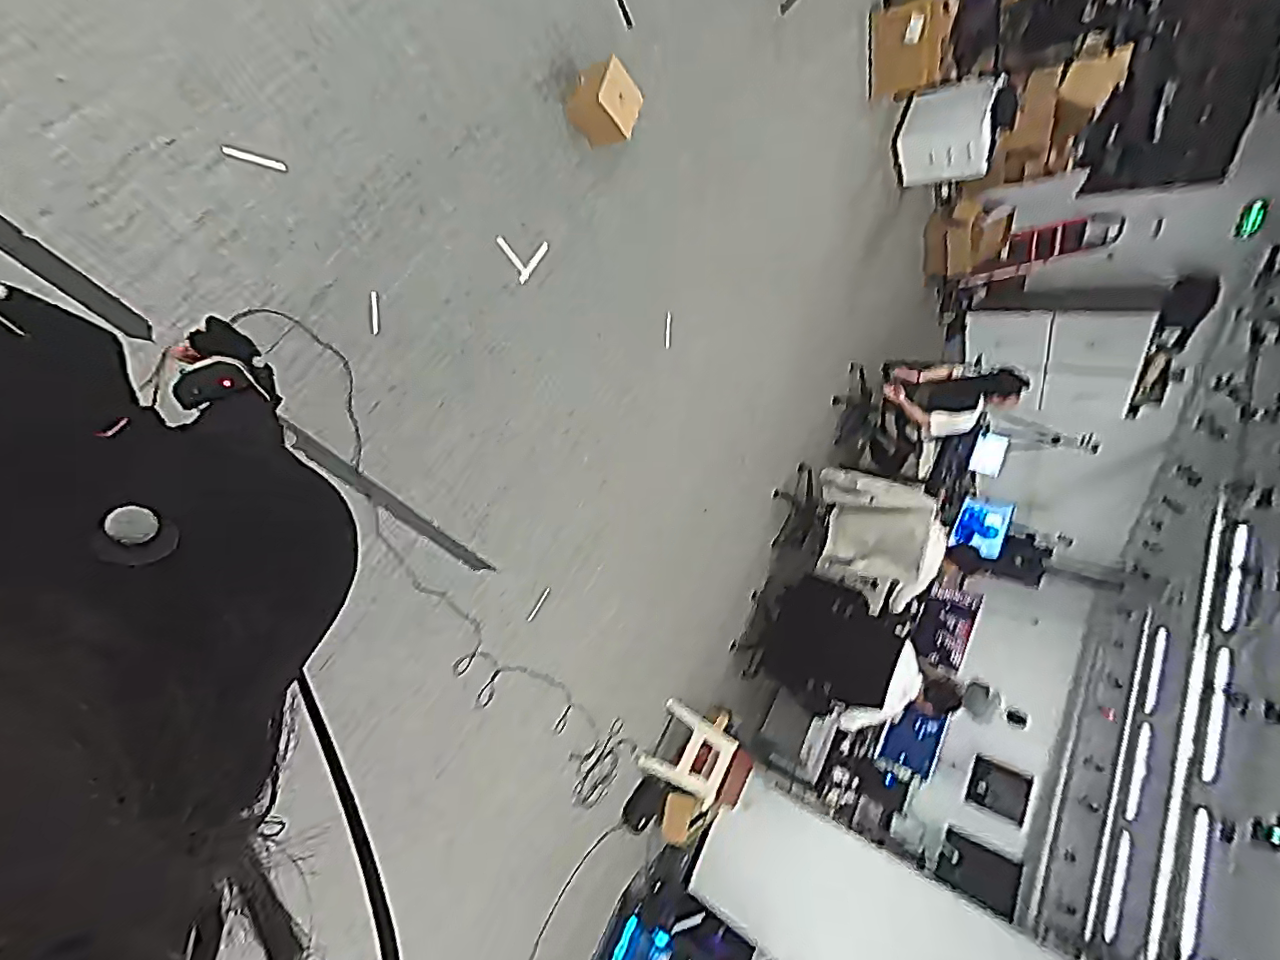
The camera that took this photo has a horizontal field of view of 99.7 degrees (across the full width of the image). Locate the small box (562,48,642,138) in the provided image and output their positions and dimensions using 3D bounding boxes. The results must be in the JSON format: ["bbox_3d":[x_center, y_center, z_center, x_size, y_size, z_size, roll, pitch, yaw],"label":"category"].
[{"bbox_3d":[-0.127,-1.284,1.813,0.179,0.176,0.168,25,82,-51],"label":"small box"}]
